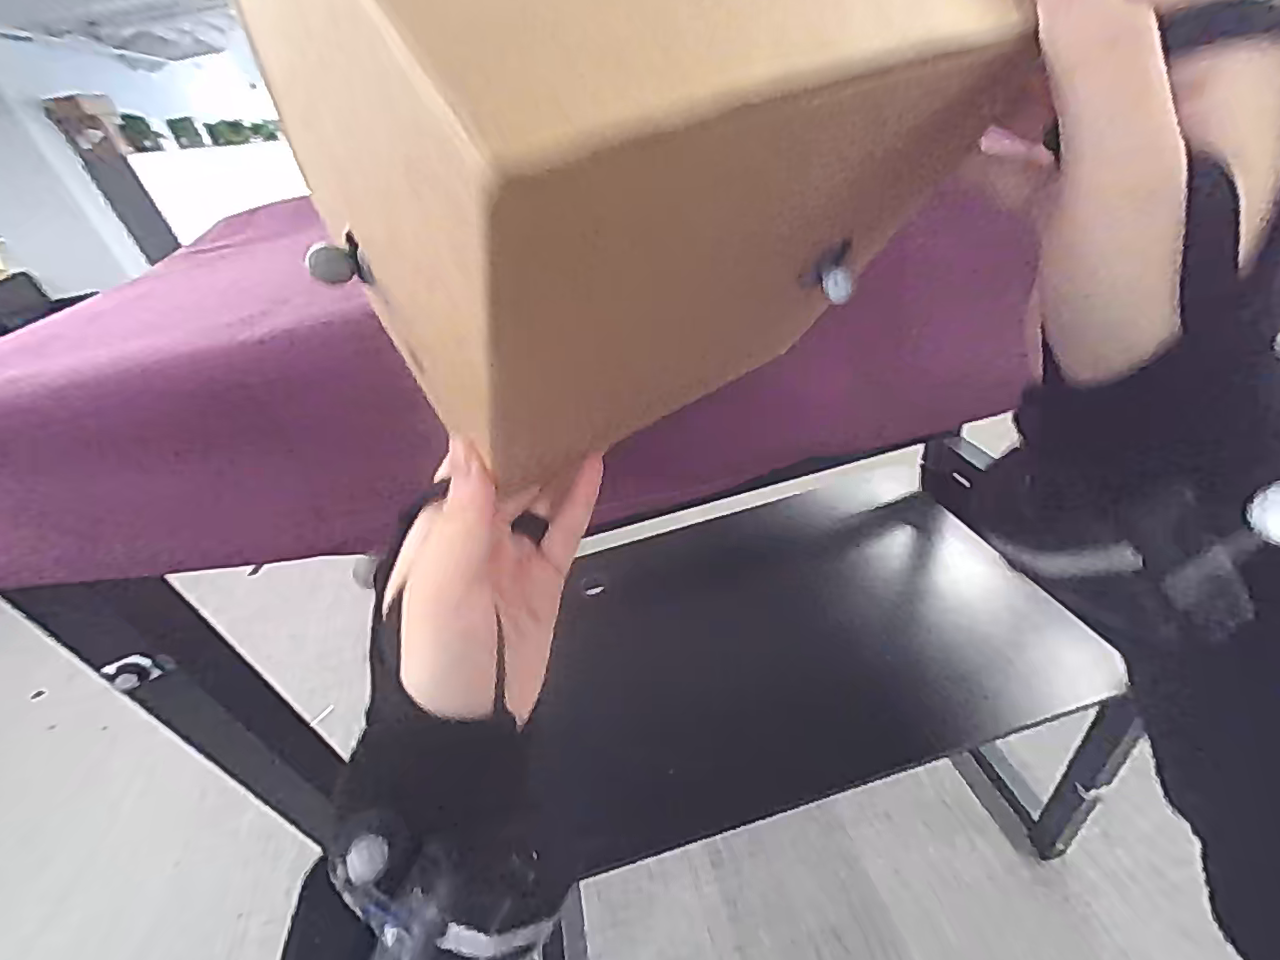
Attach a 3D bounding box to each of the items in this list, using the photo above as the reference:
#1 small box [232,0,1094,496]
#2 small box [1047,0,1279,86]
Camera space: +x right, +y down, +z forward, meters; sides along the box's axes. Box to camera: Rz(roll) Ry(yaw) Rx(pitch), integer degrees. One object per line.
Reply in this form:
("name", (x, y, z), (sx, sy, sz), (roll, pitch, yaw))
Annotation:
("small box", (-0.016, -0.119, 0.187), (0.179, 0.176, 0.168), (-30, 82, -23))
("small box", (0.445, -0.445, 0.451), (0.168, 0.176, 0.179), (-14, 35, -2))
